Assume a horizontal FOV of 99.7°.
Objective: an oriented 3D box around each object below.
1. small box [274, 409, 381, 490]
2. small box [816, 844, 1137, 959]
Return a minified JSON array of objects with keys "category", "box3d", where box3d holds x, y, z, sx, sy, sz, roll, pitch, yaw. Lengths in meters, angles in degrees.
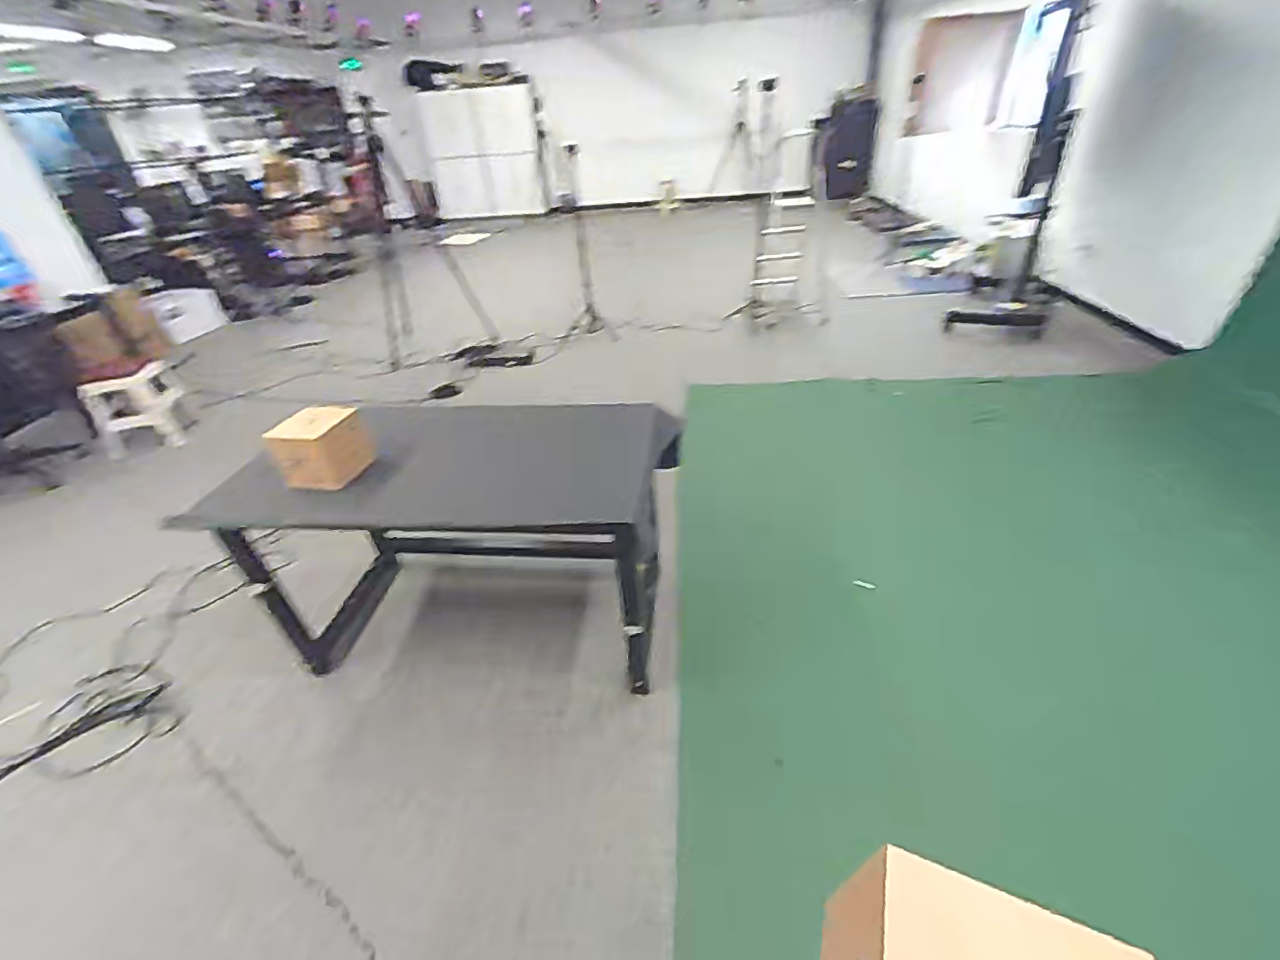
[{"category":"small box","box3d":[-0.864,-0.087,1.519,0.168,0.176,0.179,3,34,11]},{"category":"small box","box3d":[0.213,0.397,0.362,0.168,0.176,0.179,16,42,15]}]
